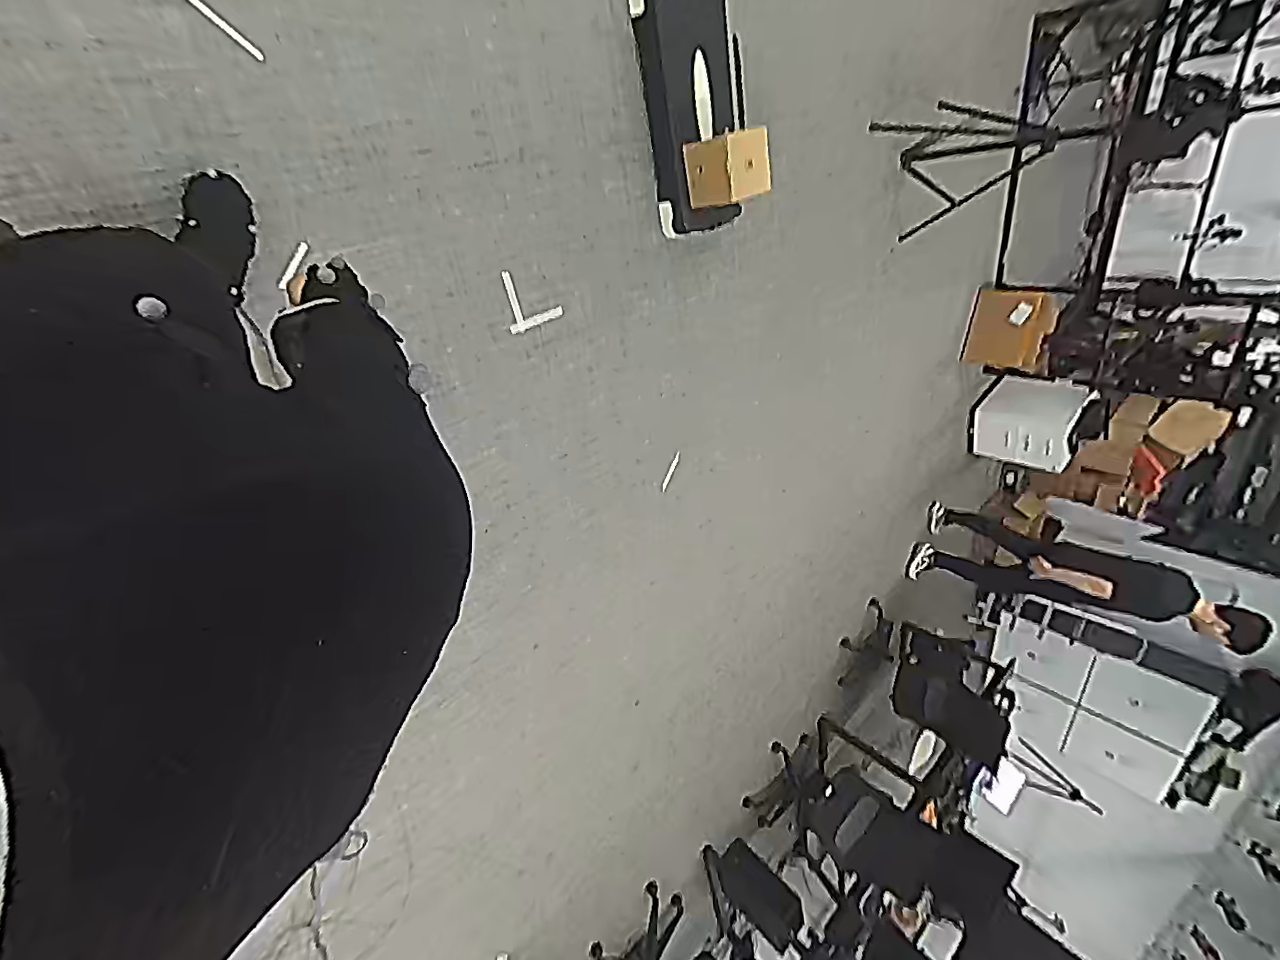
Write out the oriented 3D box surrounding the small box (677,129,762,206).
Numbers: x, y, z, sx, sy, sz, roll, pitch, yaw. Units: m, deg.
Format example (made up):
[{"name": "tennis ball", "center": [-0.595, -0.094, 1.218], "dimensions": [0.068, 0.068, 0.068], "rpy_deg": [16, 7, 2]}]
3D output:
[{"name": "small box", "center": [0.234, -0.913, 1.584], "dimensions": [0.179, 0.176, 0.168], "rpy_deg": [-32, 126, -29]}]
